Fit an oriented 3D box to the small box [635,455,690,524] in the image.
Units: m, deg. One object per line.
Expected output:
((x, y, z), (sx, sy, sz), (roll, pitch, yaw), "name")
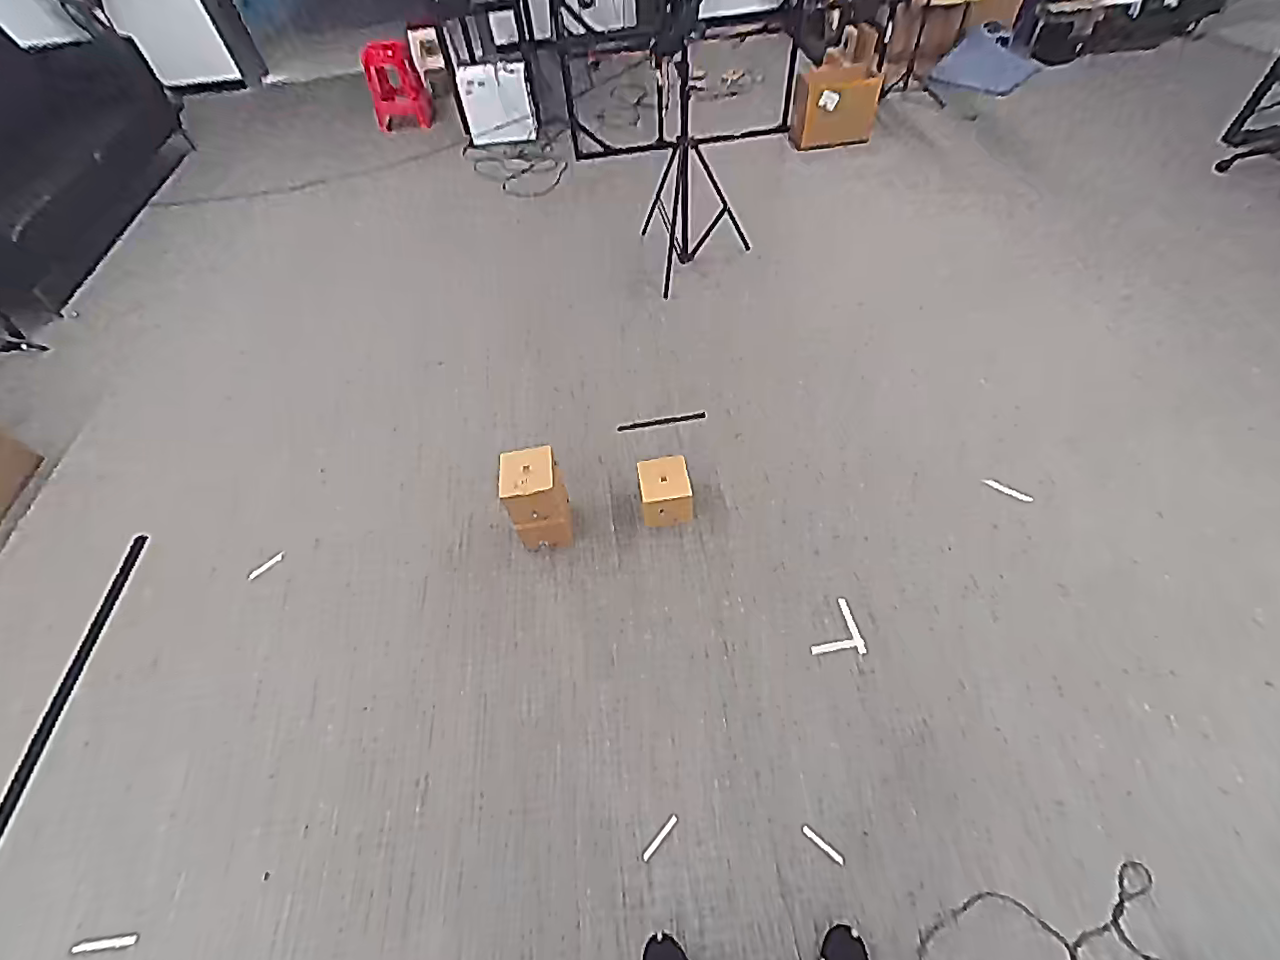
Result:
((0.080, 0.040, 1.876), (0.168, 0.176, 0.179), (-9, 52, -2), "small box")

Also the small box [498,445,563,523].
((-0.346, 0.015, 1.727), (0.168, 0.176, 0.179), (-9, 54, 0), "small box")

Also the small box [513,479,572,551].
((-0.331, 0.119, 1.853), (0.168, 0.176, 0.179), (-9, 53, 0), "small box")
